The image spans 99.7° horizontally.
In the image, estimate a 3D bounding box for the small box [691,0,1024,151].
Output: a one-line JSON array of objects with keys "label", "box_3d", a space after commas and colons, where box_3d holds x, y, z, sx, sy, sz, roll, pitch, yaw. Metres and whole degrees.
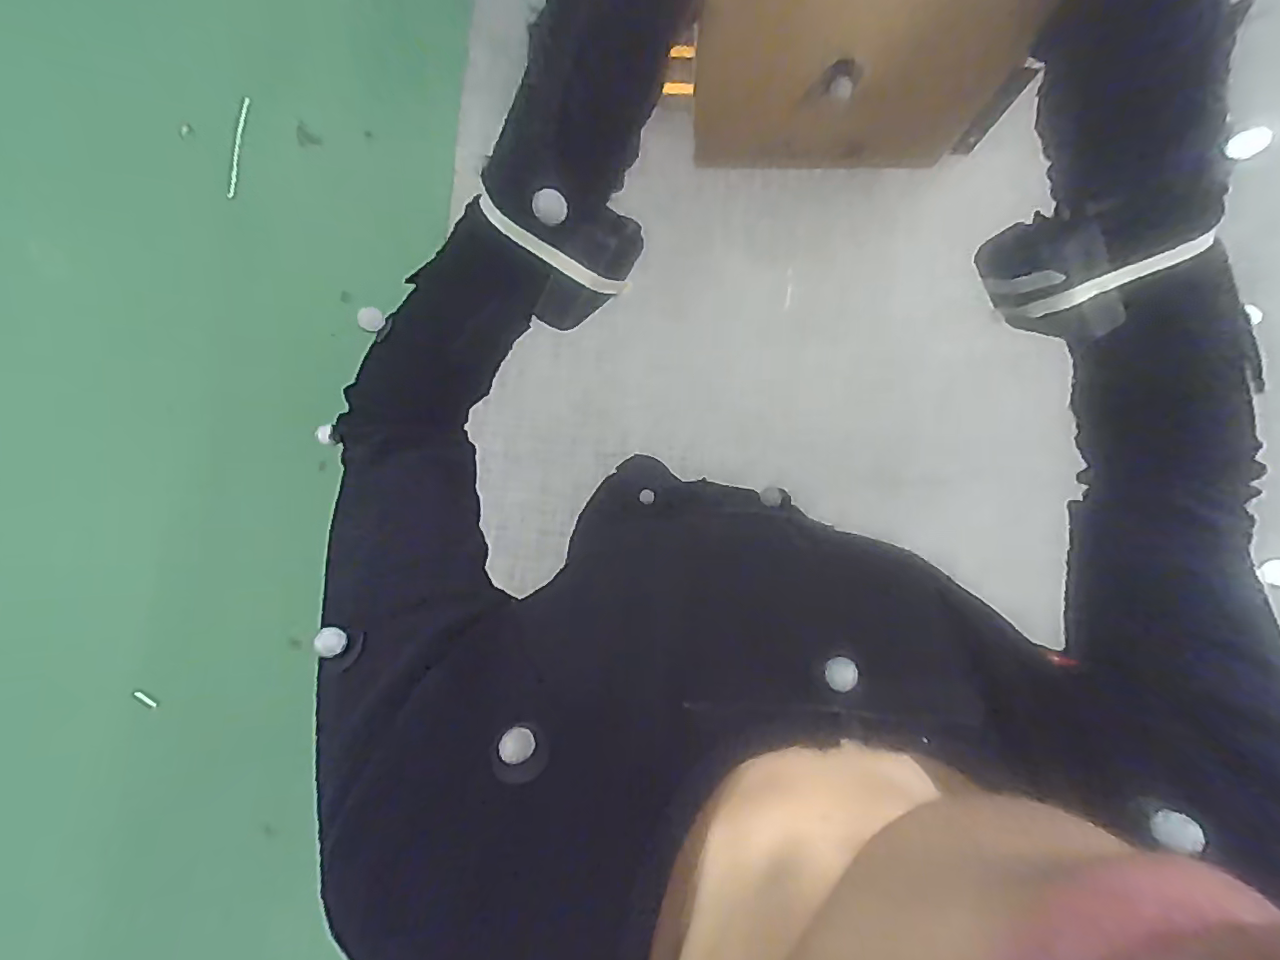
[{"label": "small box", "box_3d": [0.116, -0.313, 0.297, 0.168, 0.176, 0.179, 2, 85, 3]}]
